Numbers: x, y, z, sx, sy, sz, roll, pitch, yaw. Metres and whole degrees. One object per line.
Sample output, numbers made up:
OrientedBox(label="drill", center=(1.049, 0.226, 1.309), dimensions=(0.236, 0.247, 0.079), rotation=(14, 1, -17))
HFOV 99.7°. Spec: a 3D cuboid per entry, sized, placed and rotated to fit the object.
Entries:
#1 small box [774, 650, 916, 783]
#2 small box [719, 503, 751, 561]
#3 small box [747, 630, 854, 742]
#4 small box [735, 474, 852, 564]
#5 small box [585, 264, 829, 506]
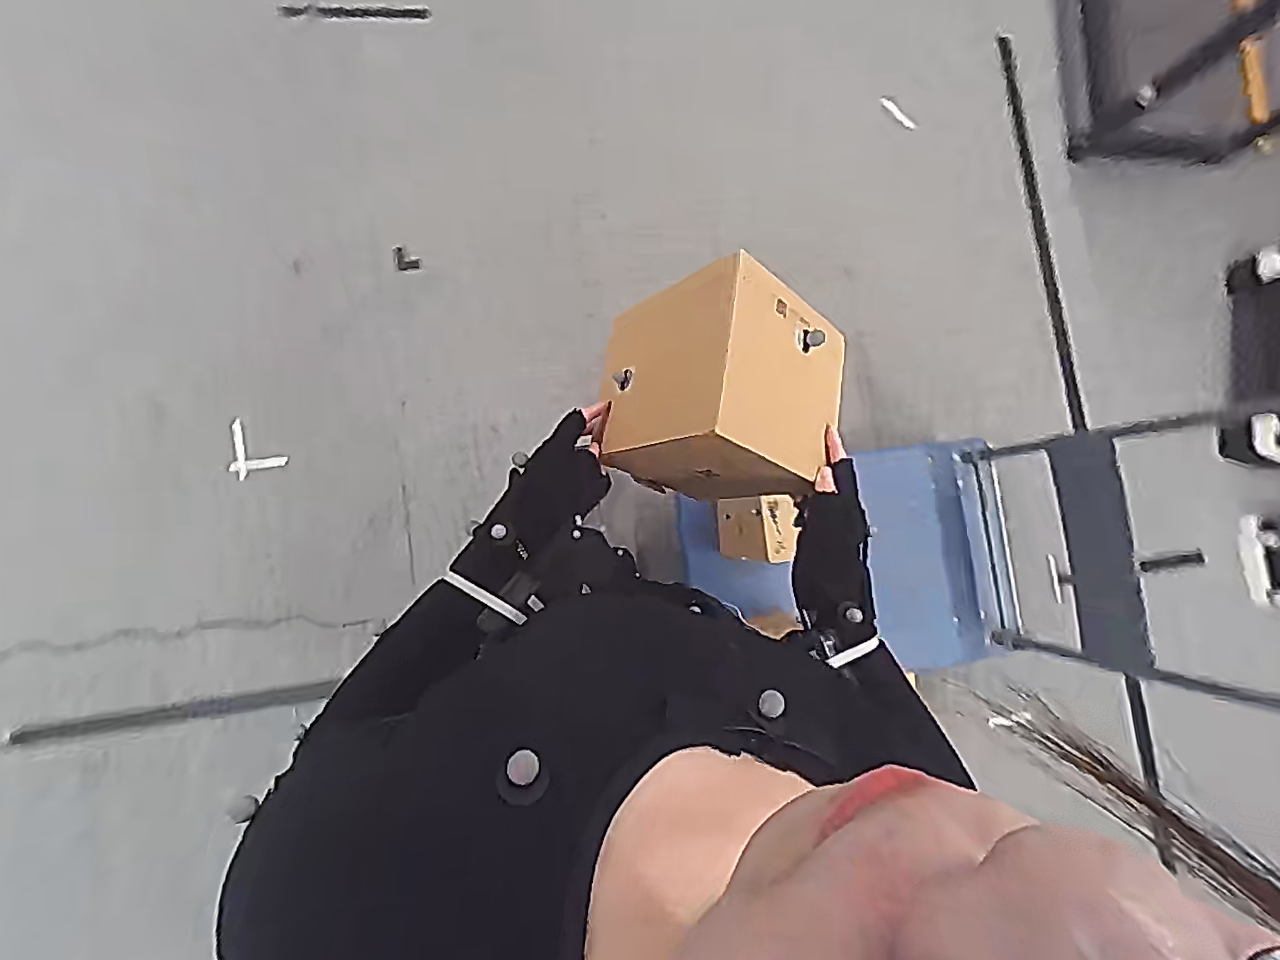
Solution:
OrientedBox(label="small box", center=(0.348, 0.399, 0.941), dimensions=(0.179, 0.176, 0.168), rotation=(0, 87, -7))
OrientedBox(label="small box", center=(0.288, 0.094, 1.284), dimensions=(0.168, 0.176, 0.179), rotation=(-2, 86, -8))
OrientedBox(label="small box", center=(0.324, 0.409, 1.104), dimensions=(0.168, 0.176, 0.179), rotation=(-1, 87, -7))
OrientedBox(label="small box", center=(0.310, 0.078, 1.121), dimensions=(0.179, 0.176, 0.168), rotation=(-5, 87, -8))
OrientedBox(label="small box", center=(0.071, -0.079, 0.546), dimensions=(0.168, 0.179, 0.176), rotation=(19, 72, -37))
